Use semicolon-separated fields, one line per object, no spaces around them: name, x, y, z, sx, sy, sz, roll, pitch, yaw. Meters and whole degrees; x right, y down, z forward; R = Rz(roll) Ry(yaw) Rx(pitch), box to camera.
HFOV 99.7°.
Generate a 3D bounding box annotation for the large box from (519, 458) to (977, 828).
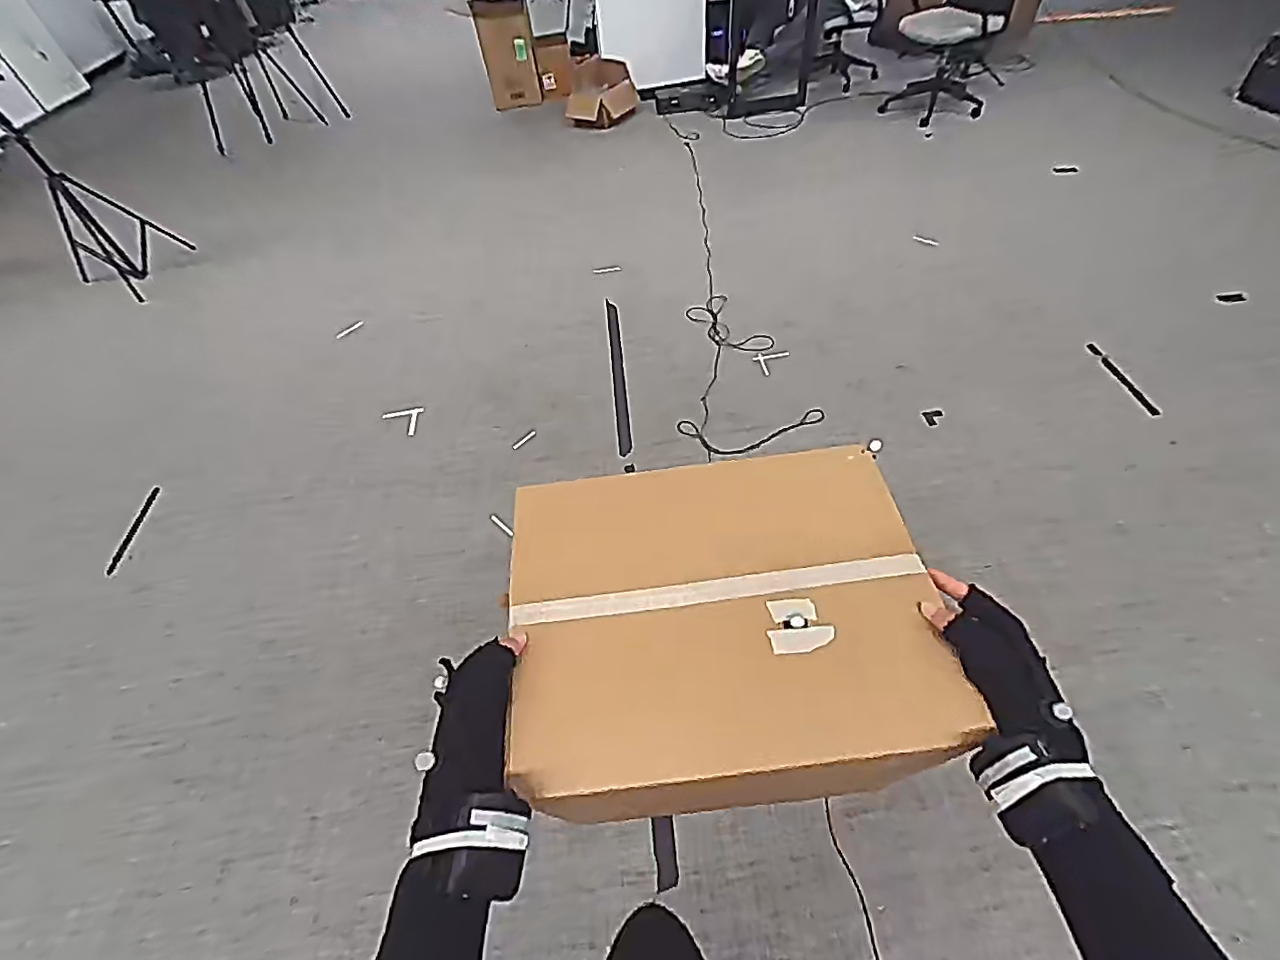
large box;0.085;0.210;0.663;0.408;0.320;0.320;-7;54;0
